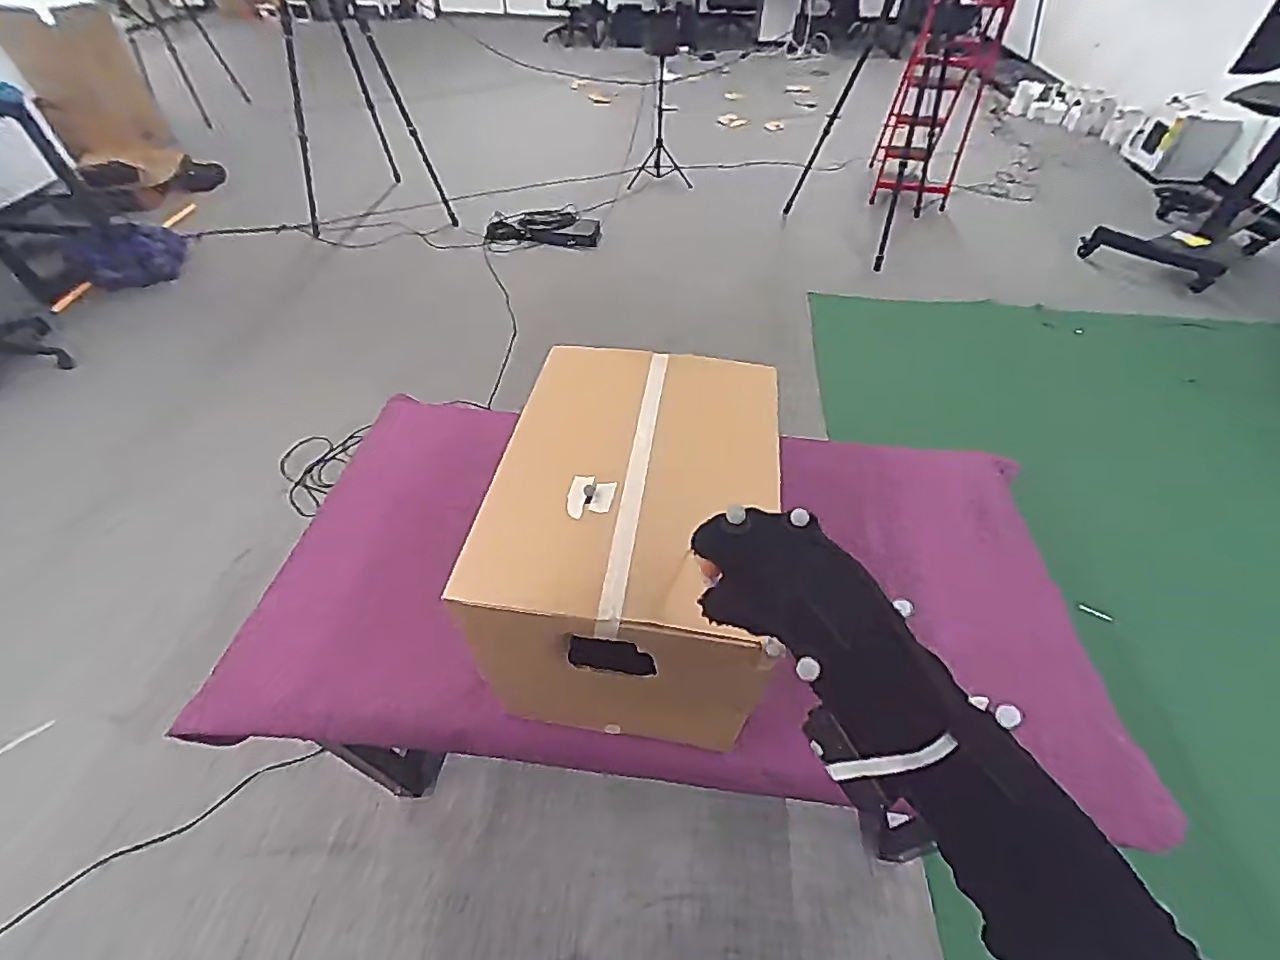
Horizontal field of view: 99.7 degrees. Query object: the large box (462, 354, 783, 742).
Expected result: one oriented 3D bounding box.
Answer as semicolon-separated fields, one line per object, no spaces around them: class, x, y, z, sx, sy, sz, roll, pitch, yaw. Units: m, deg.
large box;0.000;0.085;0.741;0.320;0.320;0.408;7;49;5
